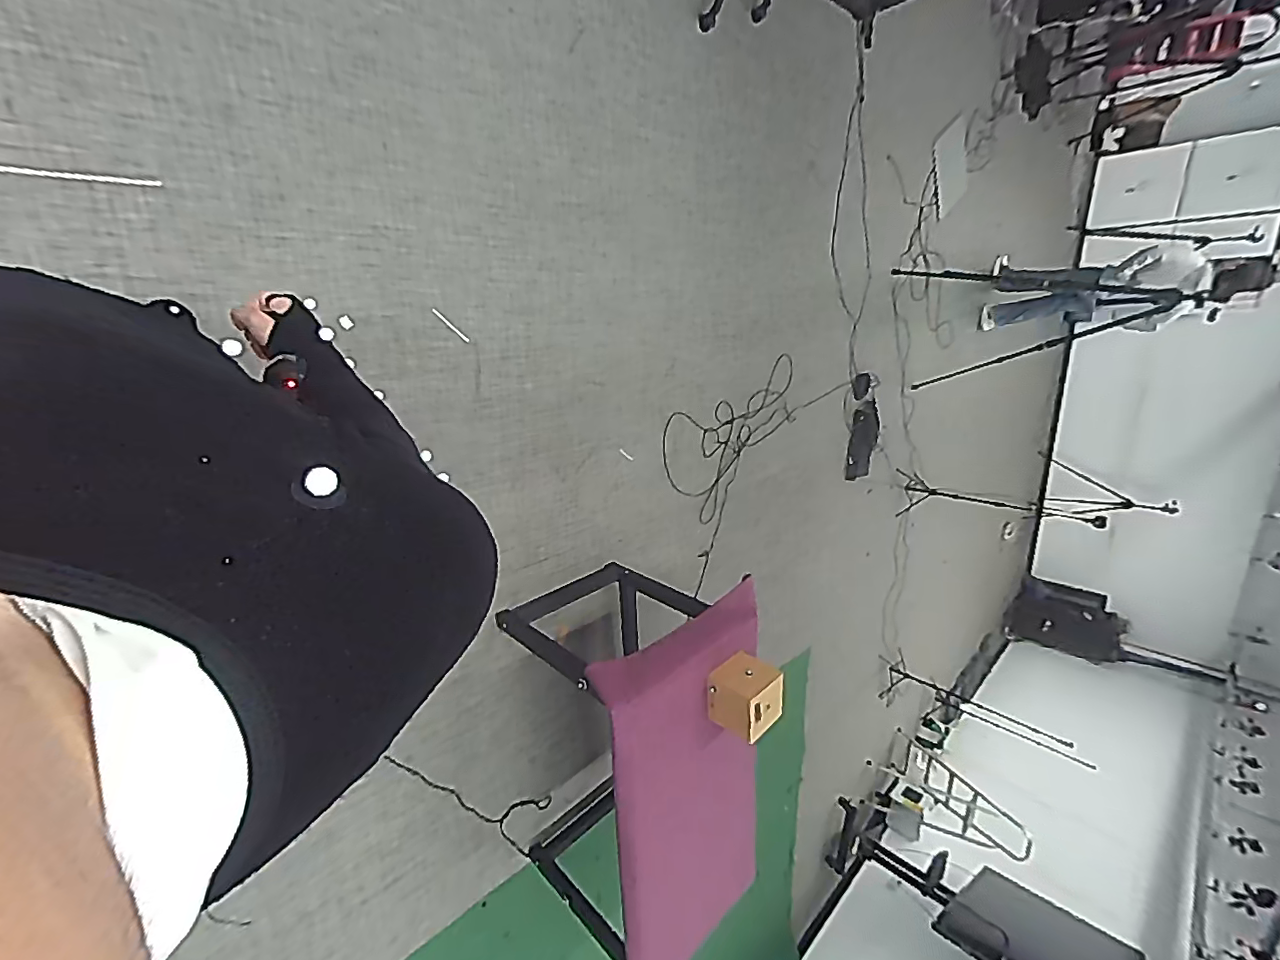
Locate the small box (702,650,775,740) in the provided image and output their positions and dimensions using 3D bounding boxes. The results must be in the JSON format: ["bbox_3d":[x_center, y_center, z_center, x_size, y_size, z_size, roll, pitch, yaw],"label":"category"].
[{"bbox_3d":[0.308,0.672,1.709,0.179,0.176,0.168,-20,115,-41],"label":"small box"}]
